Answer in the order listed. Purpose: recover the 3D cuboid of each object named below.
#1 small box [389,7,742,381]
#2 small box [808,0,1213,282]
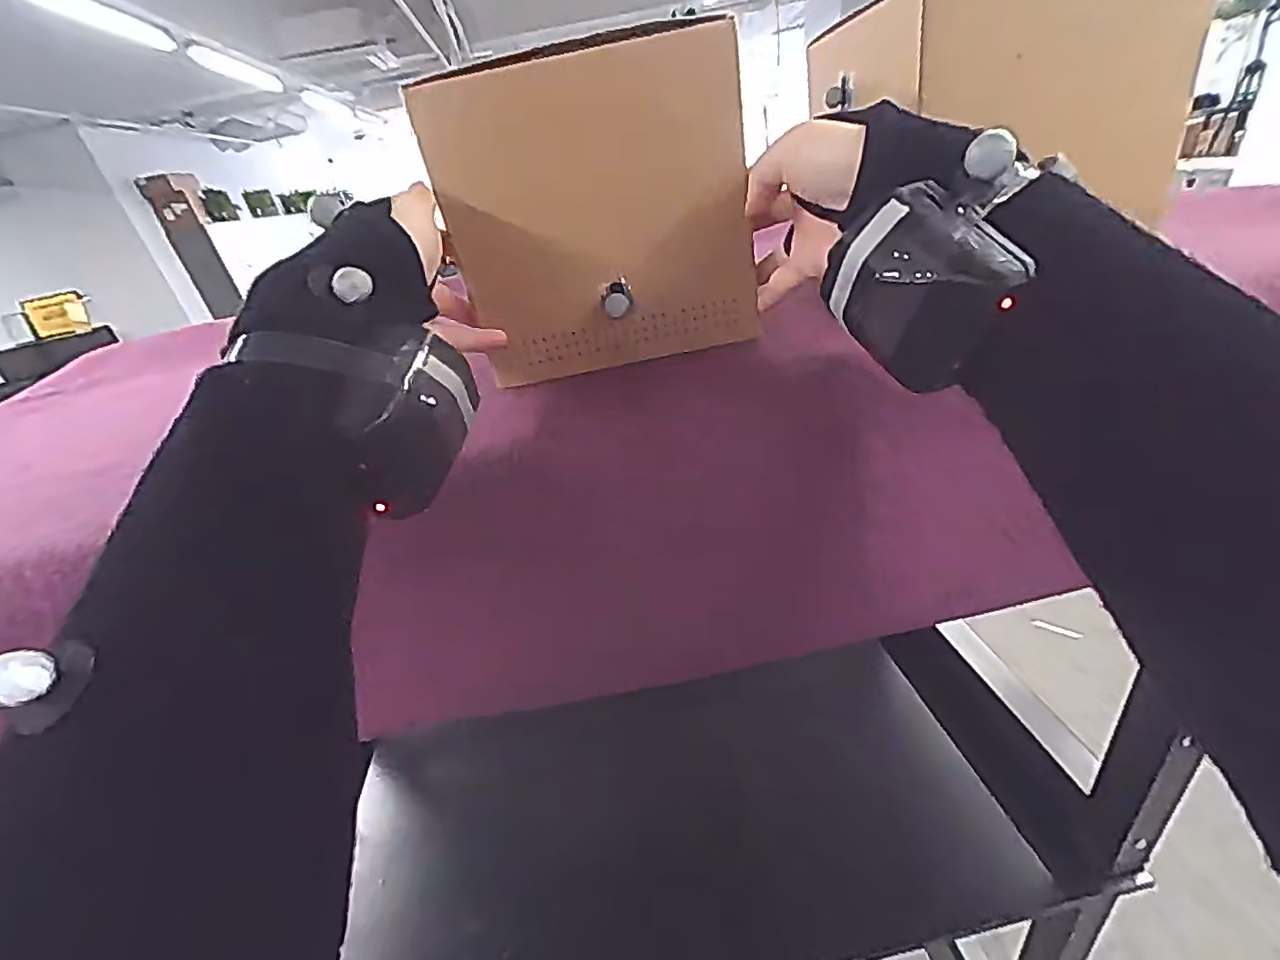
[{"bbox_3d":[-0.032,-0.183,0.373,0.179,0.176,0.168,-11,29,1],"label":"small box"},{"bbox_3d":[0.229,-0.249,0.384,0.168,0.176,0.179,-13,29,1],"label":"small box"}]
